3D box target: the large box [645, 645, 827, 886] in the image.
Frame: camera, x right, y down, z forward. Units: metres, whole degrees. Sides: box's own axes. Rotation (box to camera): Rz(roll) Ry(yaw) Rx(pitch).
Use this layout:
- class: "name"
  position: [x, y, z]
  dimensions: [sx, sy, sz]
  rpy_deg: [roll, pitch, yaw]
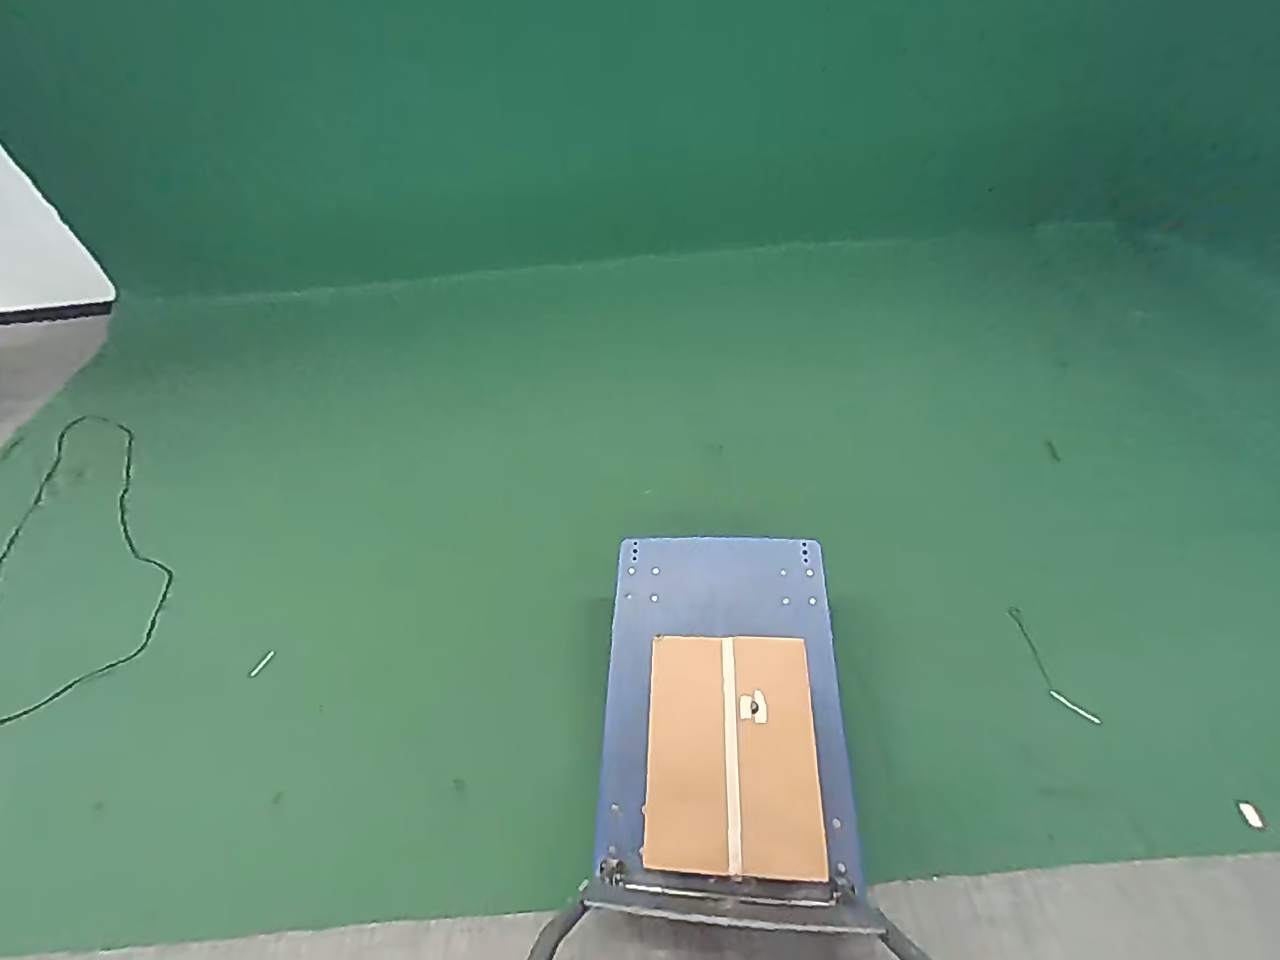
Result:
- class: "large box"
  position: [0.191, 0.597, 1.146]
  dimensions: [0.320, 0.320, 0.408]
  rpy_deg: [-1, 57, 8]
